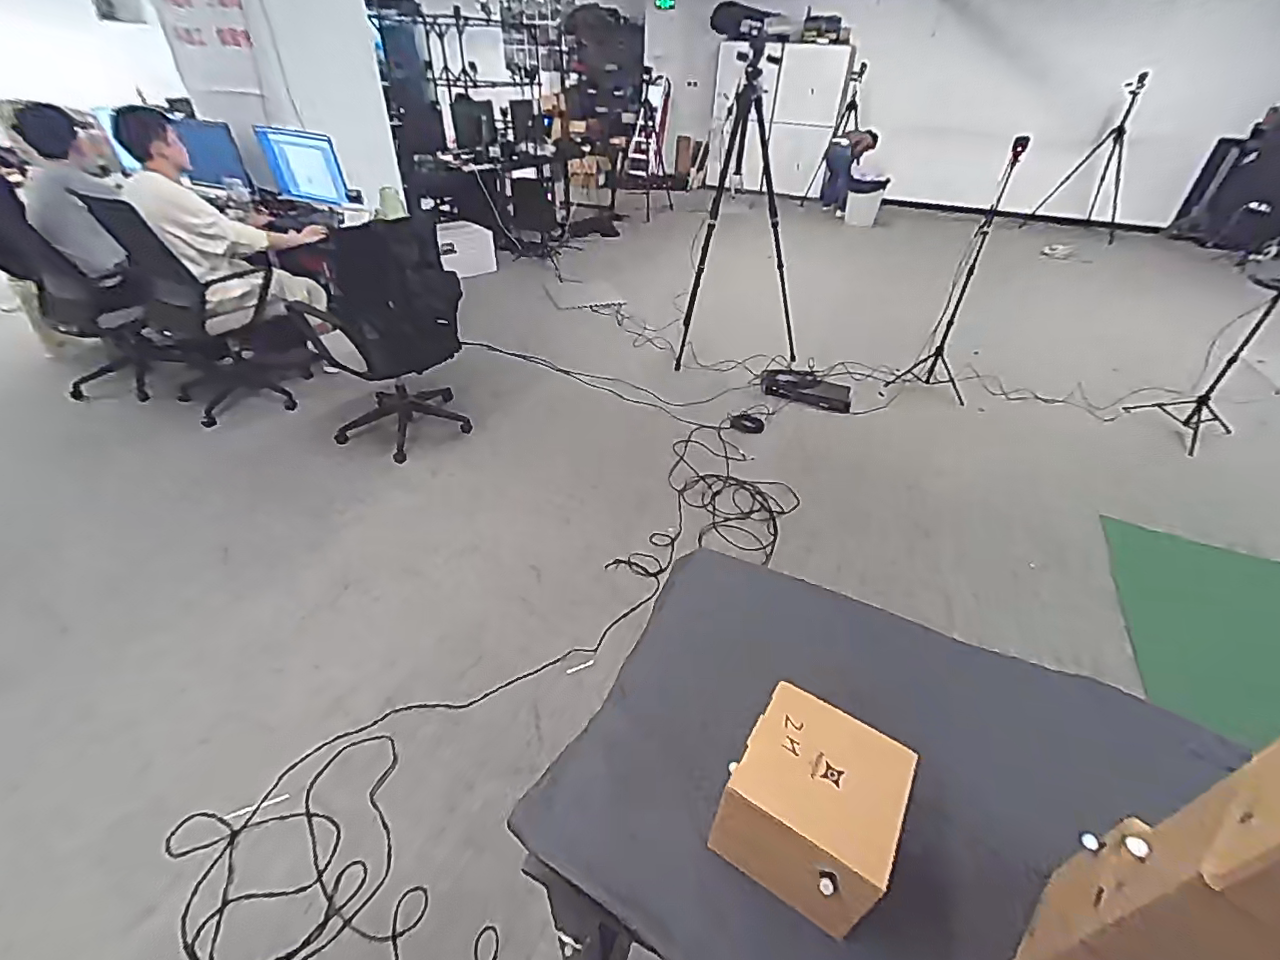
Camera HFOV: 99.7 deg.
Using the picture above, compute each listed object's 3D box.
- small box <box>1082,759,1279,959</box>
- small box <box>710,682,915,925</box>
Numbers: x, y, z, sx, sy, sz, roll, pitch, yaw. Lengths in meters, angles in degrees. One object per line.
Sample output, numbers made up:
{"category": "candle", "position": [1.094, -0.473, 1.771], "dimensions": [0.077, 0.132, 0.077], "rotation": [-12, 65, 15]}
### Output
{"category": "small box", "position": [0.520, 0.376, 0.433], "dimensions": [0.168, 0.176, 0.179], "rotation": [-20, 42, -28]}
{"category": "small box", "position": [0.204, 0.396, 0.664], "dimensions": [0.179, 0.176, 0.168], "rotation": [23, 40, 25]}
